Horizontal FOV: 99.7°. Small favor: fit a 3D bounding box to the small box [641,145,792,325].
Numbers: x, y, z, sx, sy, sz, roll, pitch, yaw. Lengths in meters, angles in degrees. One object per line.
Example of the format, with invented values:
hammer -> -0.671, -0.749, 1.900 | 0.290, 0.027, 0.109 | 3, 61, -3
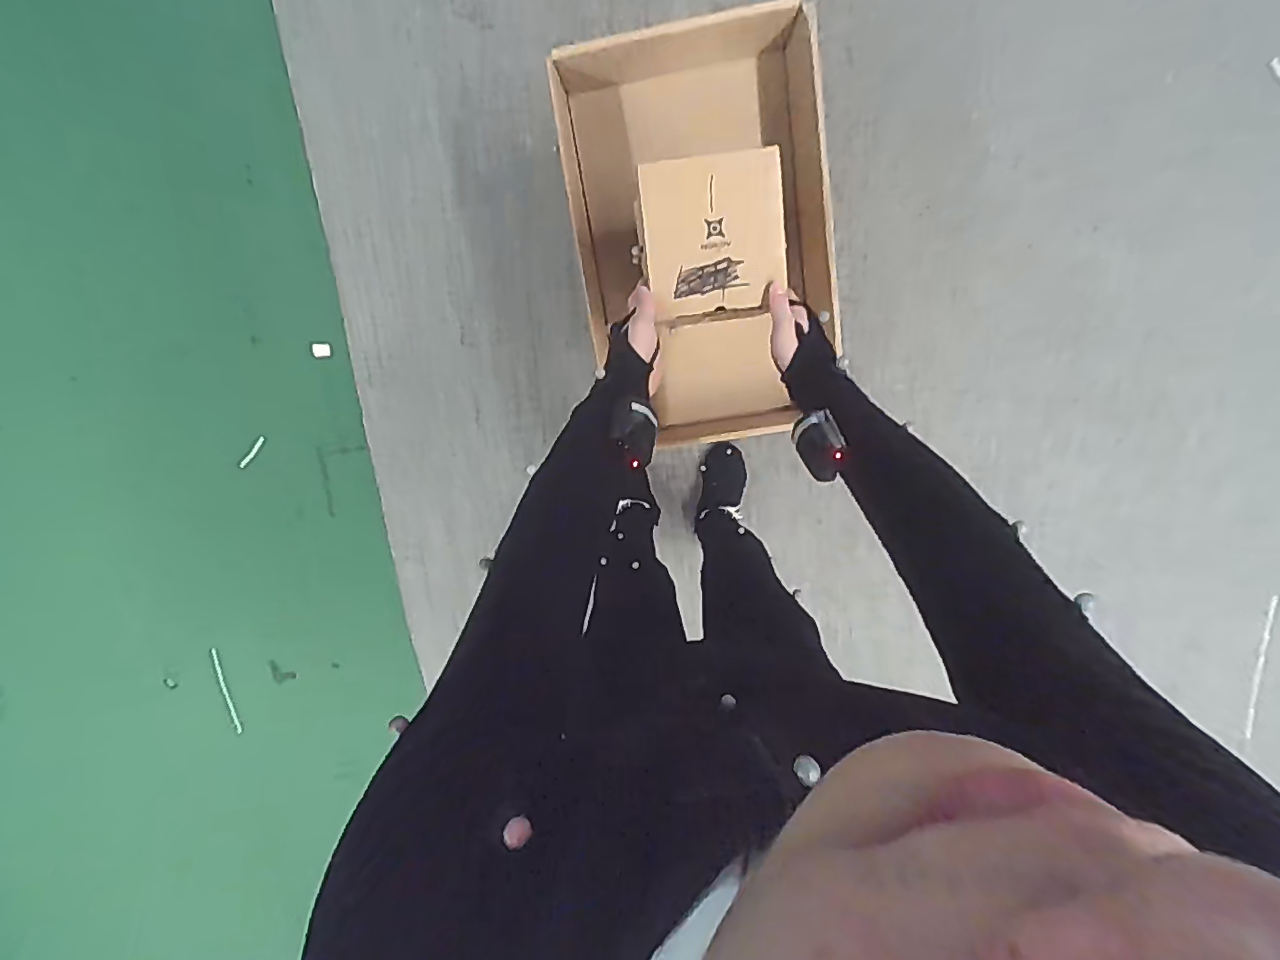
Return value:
small box -> 0.091, -0.299, 0.699 | 0.168, 0.176, 0.179 | -6, 102, 1
